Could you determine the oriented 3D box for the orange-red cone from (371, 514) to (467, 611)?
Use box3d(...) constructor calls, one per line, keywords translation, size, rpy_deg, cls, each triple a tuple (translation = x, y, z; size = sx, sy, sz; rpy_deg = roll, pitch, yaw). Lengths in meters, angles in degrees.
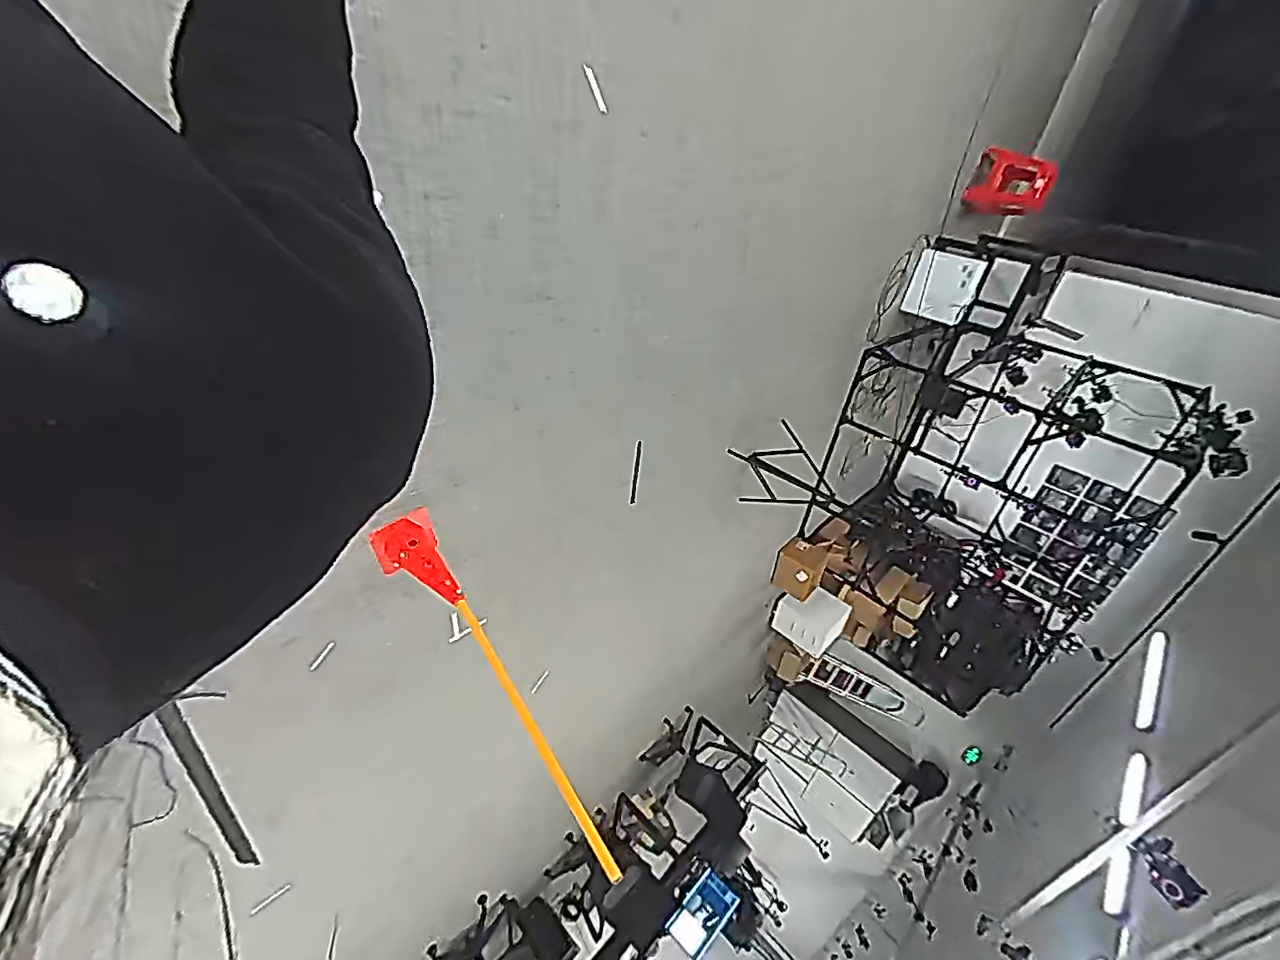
box3d(translation=(-0.658, 0.296, 1.708), size=(0.199, 0.360, 0.198), rpy_deg=(-33, 141, -35), cls="orange-red cone")
